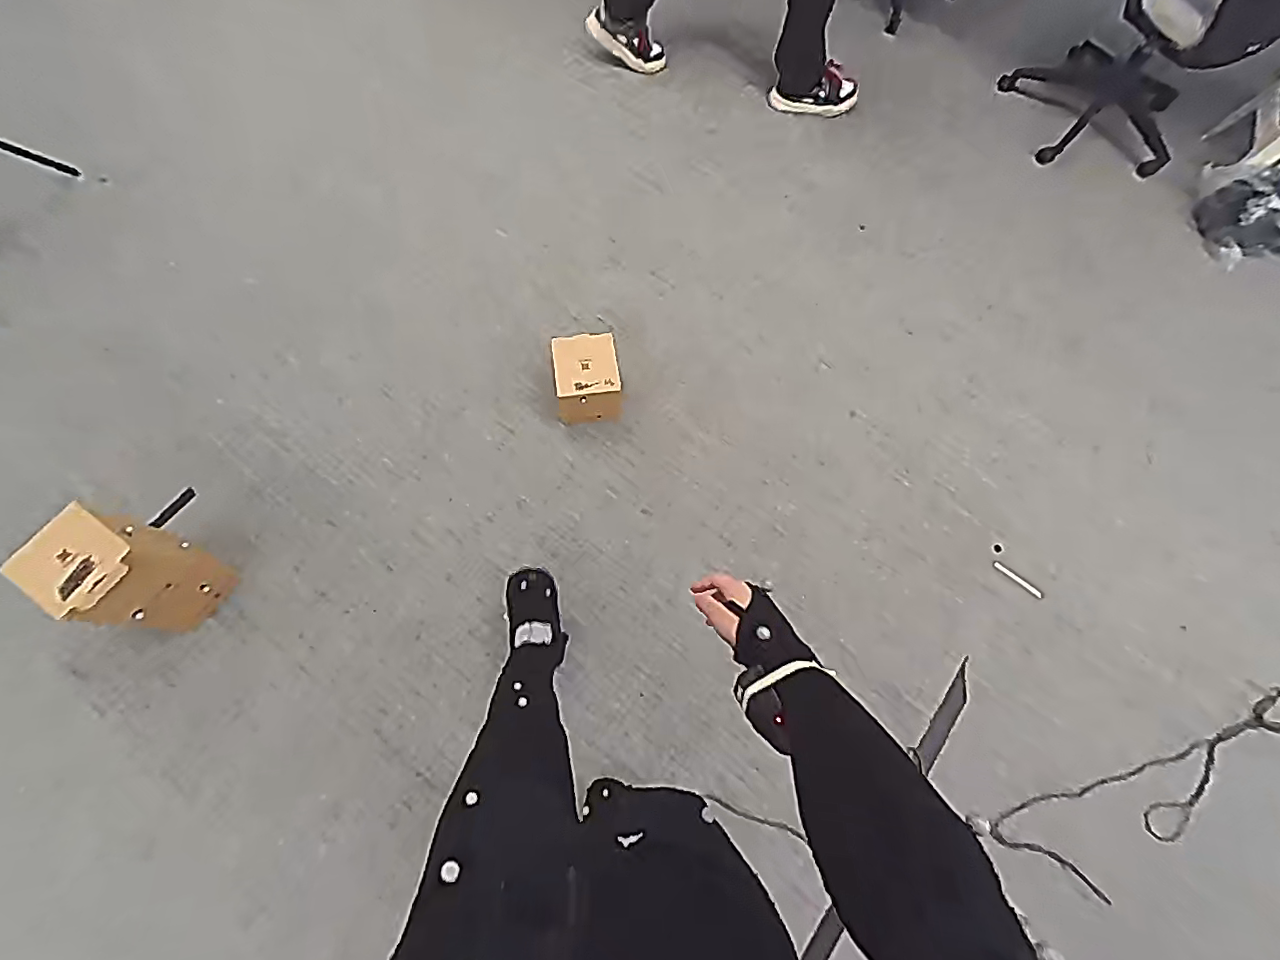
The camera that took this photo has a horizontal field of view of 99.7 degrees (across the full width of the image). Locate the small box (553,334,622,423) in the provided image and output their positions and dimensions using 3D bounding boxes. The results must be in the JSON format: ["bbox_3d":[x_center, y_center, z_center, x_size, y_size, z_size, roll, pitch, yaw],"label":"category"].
[{"bbox_3d":[-0.145,-0.275,1.479,0.168,0.176,0.179,-7,72,-6],"label":"small box"}]

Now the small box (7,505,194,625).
[{"bbox_3d":[-1.086,0.181,1.108,0.179,0.176,0.168,33,73,8],"label":"small box"}]

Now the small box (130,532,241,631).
[{"bbox_3d":[-1.097,0.237,1.263,0.179,0.176,0.168,31,72,9],"label":"small box"}]
